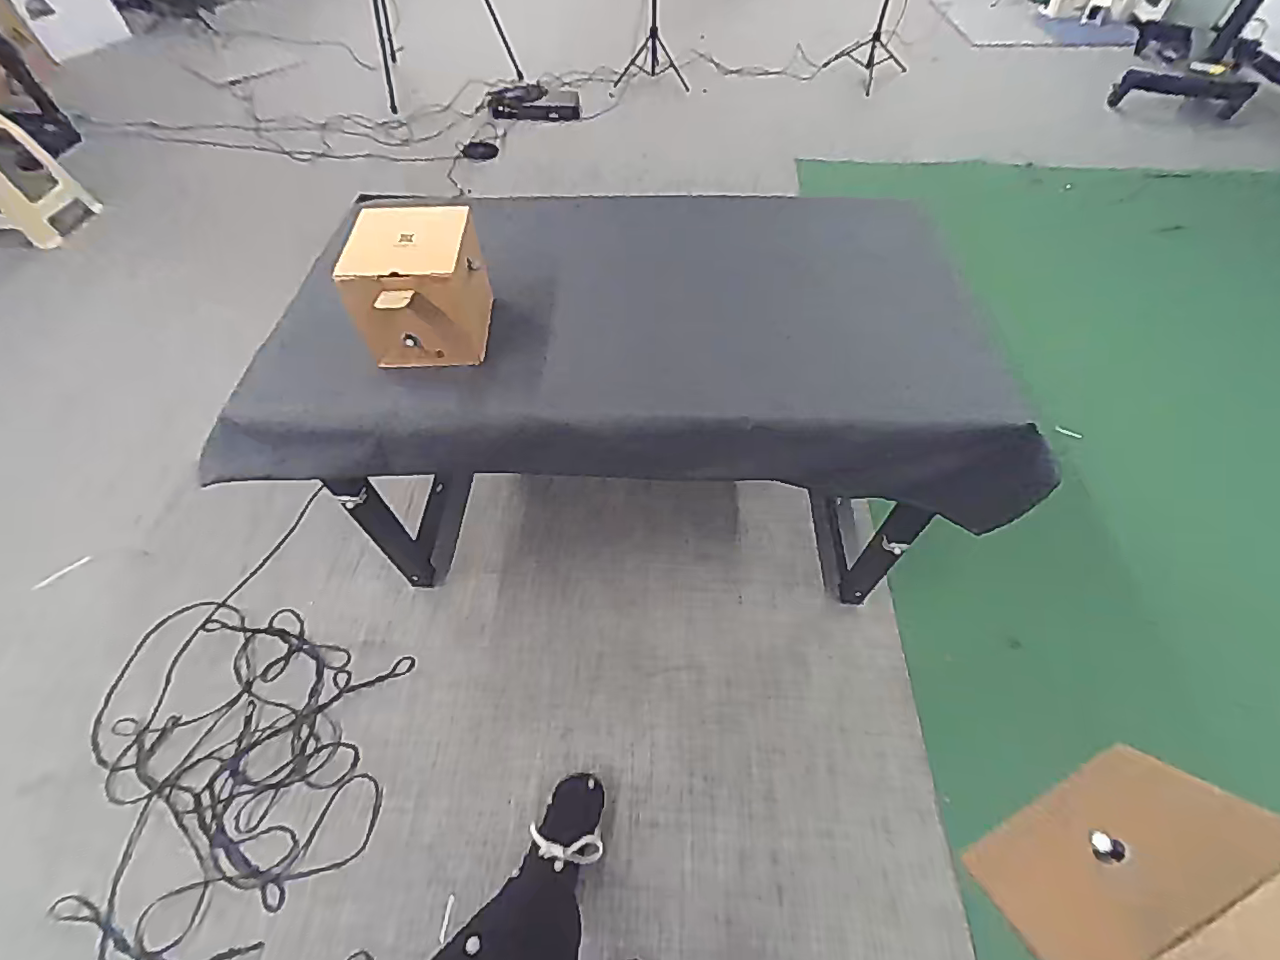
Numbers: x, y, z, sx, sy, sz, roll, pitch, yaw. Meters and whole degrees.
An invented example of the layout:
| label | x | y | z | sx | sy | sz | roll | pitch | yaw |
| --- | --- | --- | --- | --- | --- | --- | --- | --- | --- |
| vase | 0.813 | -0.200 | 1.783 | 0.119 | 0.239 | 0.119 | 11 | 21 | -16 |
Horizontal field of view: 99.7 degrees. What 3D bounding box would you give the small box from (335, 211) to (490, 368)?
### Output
| label | x | y | z | sx | sy | sz | roll | pitch | yaw |
| --- | --- | --- | --- | --- | --- | --- | --- | --- | --- |
| small box | -0.338 | -0.296 | 0.848 | 0.168 | 0.176 | 0.179 | -2 | 55 | -2 |
